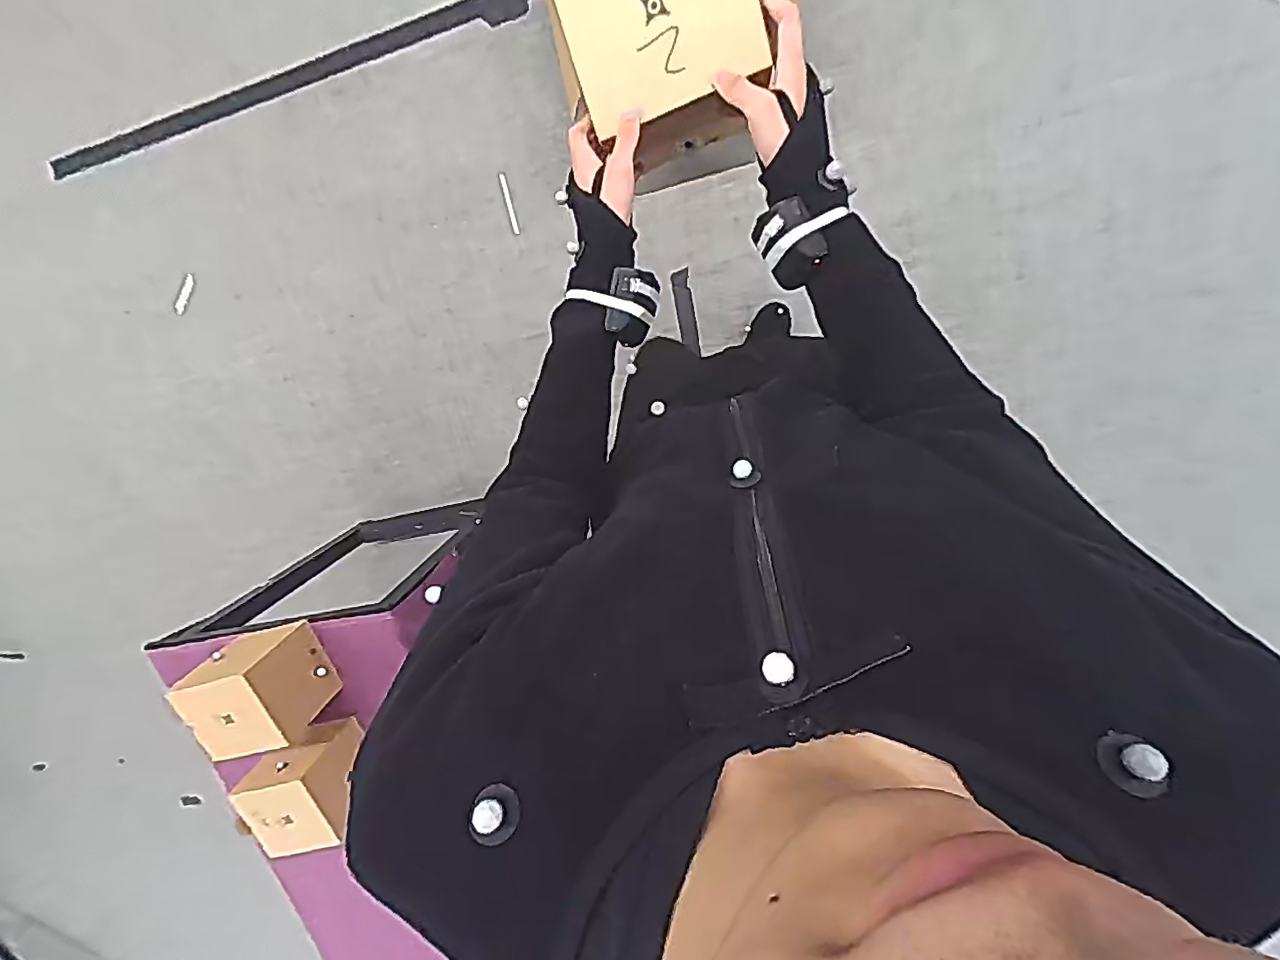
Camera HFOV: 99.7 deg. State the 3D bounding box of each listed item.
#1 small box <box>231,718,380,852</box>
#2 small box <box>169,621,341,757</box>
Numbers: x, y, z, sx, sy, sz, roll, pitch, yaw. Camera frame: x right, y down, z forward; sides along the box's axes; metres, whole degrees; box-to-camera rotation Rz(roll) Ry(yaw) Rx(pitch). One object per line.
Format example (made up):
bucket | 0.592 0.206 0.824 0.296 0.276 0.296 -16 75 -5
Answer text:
small box | -0.671 0.620 1.115 0.179 0.176 0.168 -17 106 13
small box | -0.730 0.398 1.046 0.179 0.176 0.168 -15 108 12
